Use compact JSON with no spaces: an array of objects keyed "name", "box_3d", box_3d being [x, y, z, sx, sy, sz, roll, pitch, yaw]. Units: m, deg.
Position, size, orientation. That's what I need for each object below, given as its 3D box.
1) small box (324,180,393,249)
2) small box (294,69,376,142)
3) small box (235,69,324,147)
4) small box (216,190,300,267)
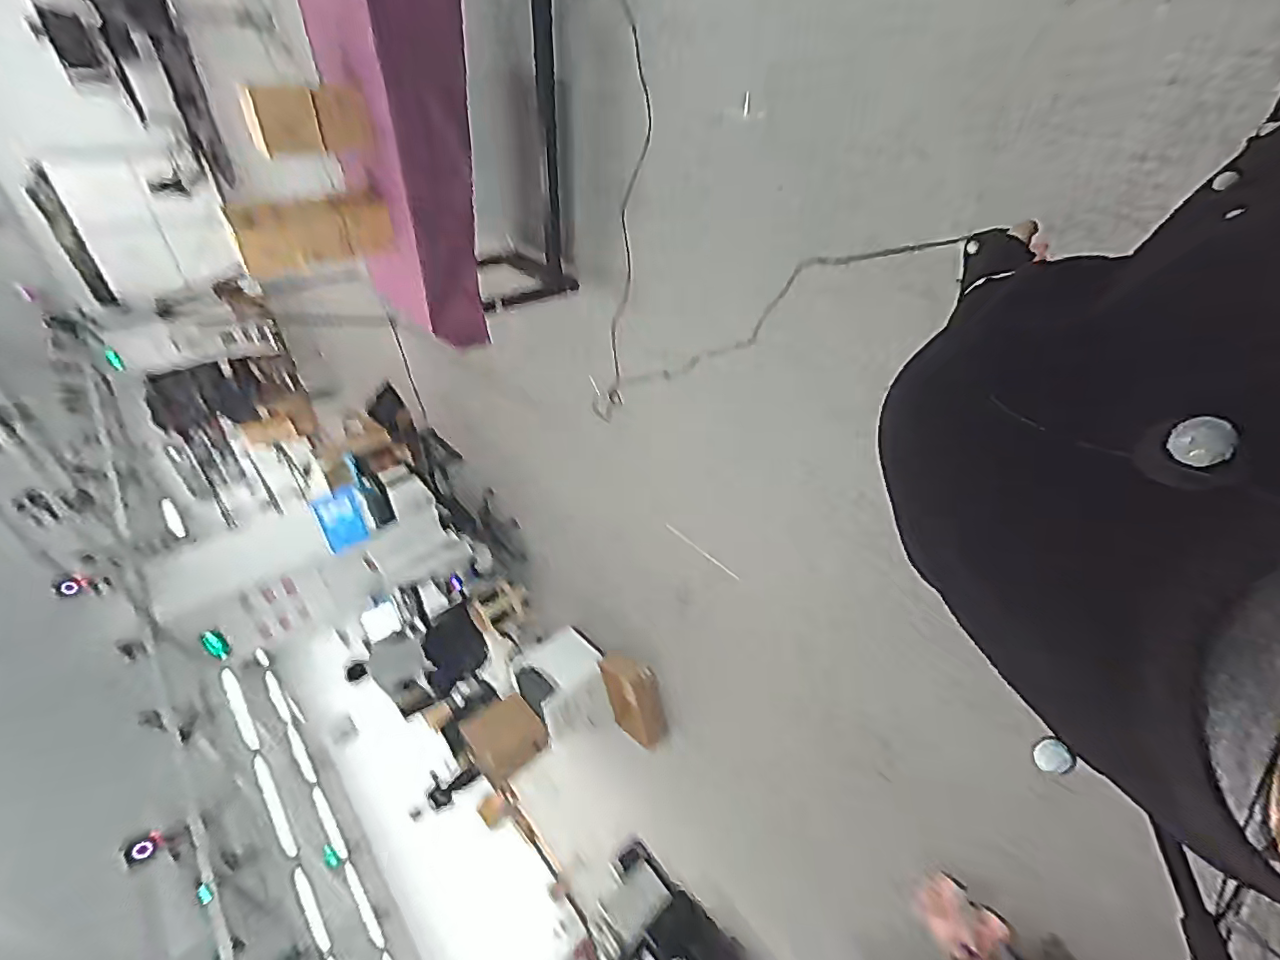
[{"name":"small box","box_3d":[-1.035,-0.986,2.003,0.168,0.176,0.179,45,142,25]},{"name":"small box","box_3d":[-1.003,-1.236,1.785,0.168,0.176,0.179,39,140,32]},{"name":"small box","box_3d":[-1.121,-1.167,1.693,0.168,0.176,0.179,40,141,30]},{"name":"small box","box_3d":[-1.291,-0.860,1.839,0.168,0.176,0.179,51,145,19]}]
